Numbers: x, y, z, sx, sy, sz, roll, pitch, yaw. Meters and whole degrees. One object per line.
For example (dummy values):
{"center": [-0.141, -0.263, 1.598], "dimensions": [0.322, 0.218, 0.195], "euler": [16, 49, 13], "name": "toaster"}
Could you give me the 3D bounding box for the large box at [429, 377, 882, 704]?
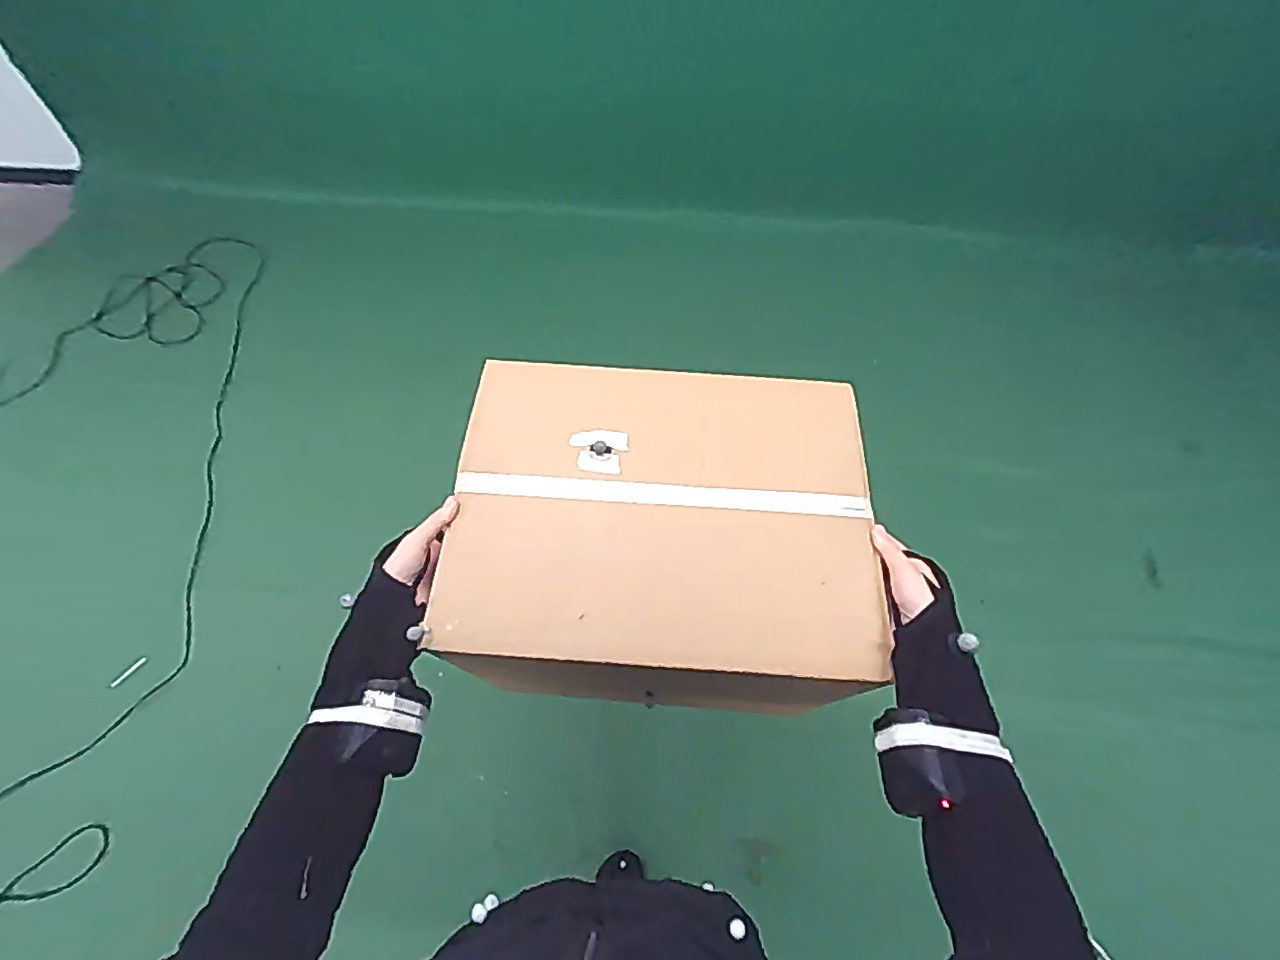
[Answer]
{"center": [0.020, 0.094, 0.670], "dimensions": [0.408, 0.320, 0.320], "euler": [3, 61, 1], "name": "large box"}
